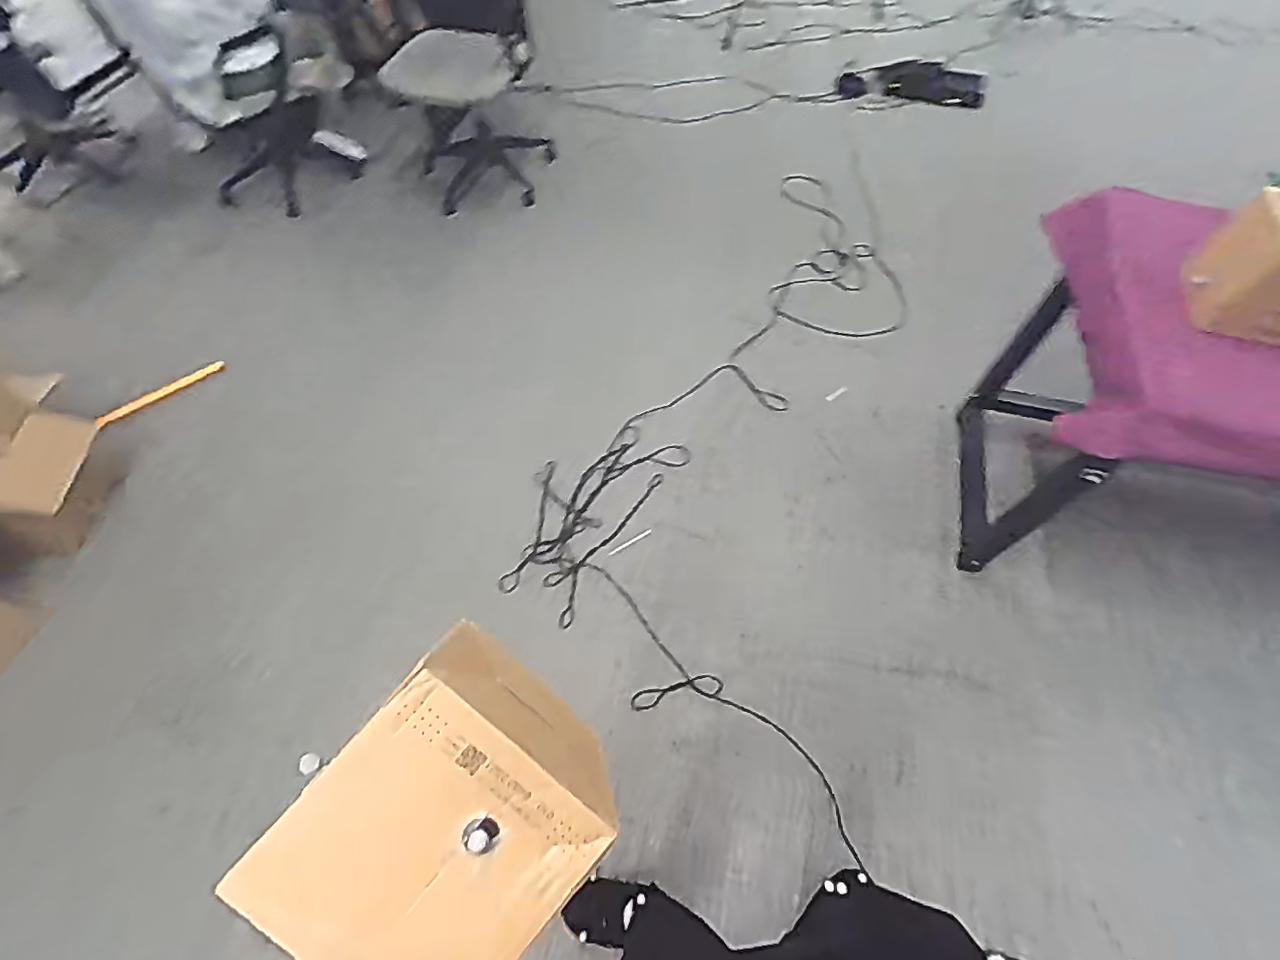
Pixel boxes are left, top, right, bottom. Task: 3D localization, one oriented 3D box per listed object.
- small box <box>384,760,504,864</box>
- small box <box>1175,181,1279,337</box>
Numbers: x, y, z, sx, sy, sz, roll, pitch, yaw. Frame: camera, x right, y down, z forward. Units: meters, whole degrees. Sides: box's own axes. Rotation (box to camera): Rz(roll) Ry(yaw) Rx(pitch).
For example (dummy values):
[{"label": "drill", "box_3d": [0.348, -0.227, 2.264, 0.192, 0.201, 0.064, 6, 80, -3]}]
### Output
[{"label": "small box", "box_3d": [-0.416, 0.721, 1.186, 0.179, 0.176, 0.168, 5, 60, 6]}, {"label": "small box", "box_3d": [1.076, -0.369, 0.919, 0.168, 0.176, 0.179, 14, 62, 11]}]
